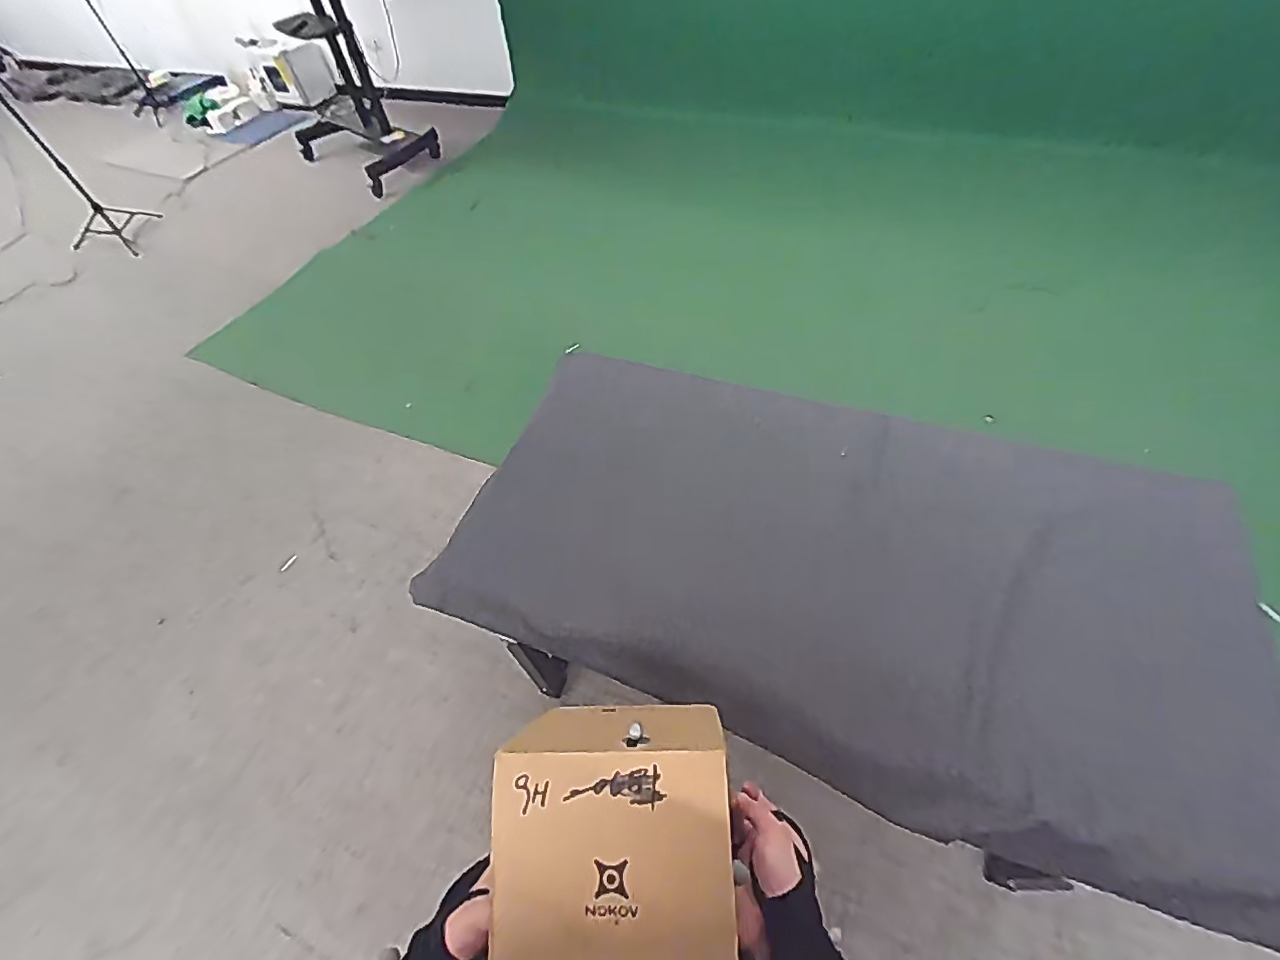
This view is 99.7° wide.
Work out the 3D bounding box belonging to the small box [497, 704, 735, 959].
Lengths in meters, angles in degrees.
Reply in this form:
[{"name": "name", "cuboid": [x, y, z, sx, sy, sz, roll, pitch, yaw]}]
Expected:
[{"name": "small box", "cuboid": [-0.011, 0.298, 0.449, 0.168, 0.176, 0.179, -3, 79, 4]}]
